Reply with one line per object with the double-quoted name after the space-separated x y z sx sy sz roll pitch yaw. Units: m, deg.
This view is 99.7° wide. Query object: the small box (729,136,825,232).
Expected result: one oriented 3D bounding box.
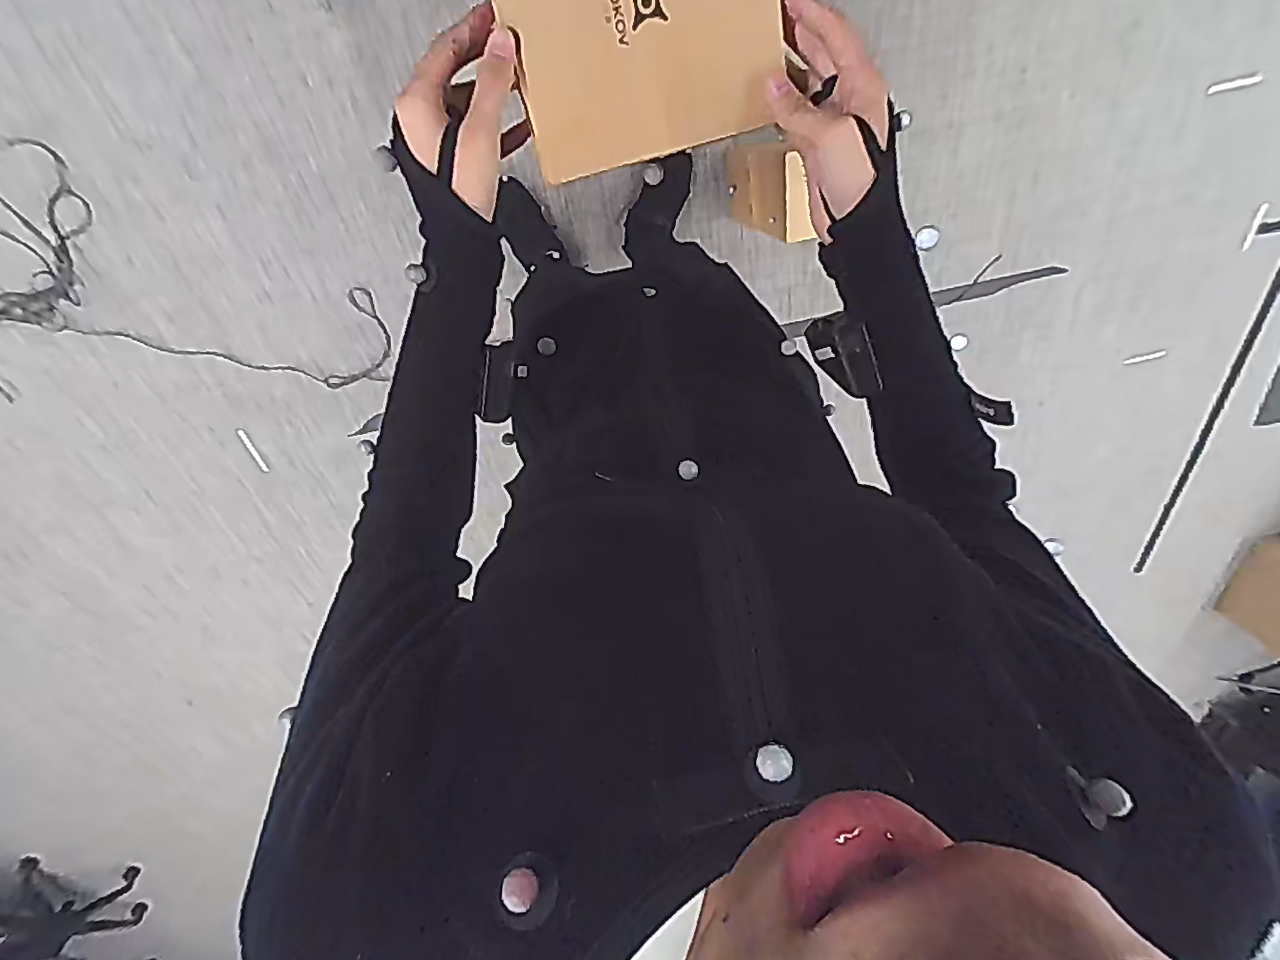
0.331 -0.722 1.313 0.179 0.176 0.168 -15 124 -1 "small box"
